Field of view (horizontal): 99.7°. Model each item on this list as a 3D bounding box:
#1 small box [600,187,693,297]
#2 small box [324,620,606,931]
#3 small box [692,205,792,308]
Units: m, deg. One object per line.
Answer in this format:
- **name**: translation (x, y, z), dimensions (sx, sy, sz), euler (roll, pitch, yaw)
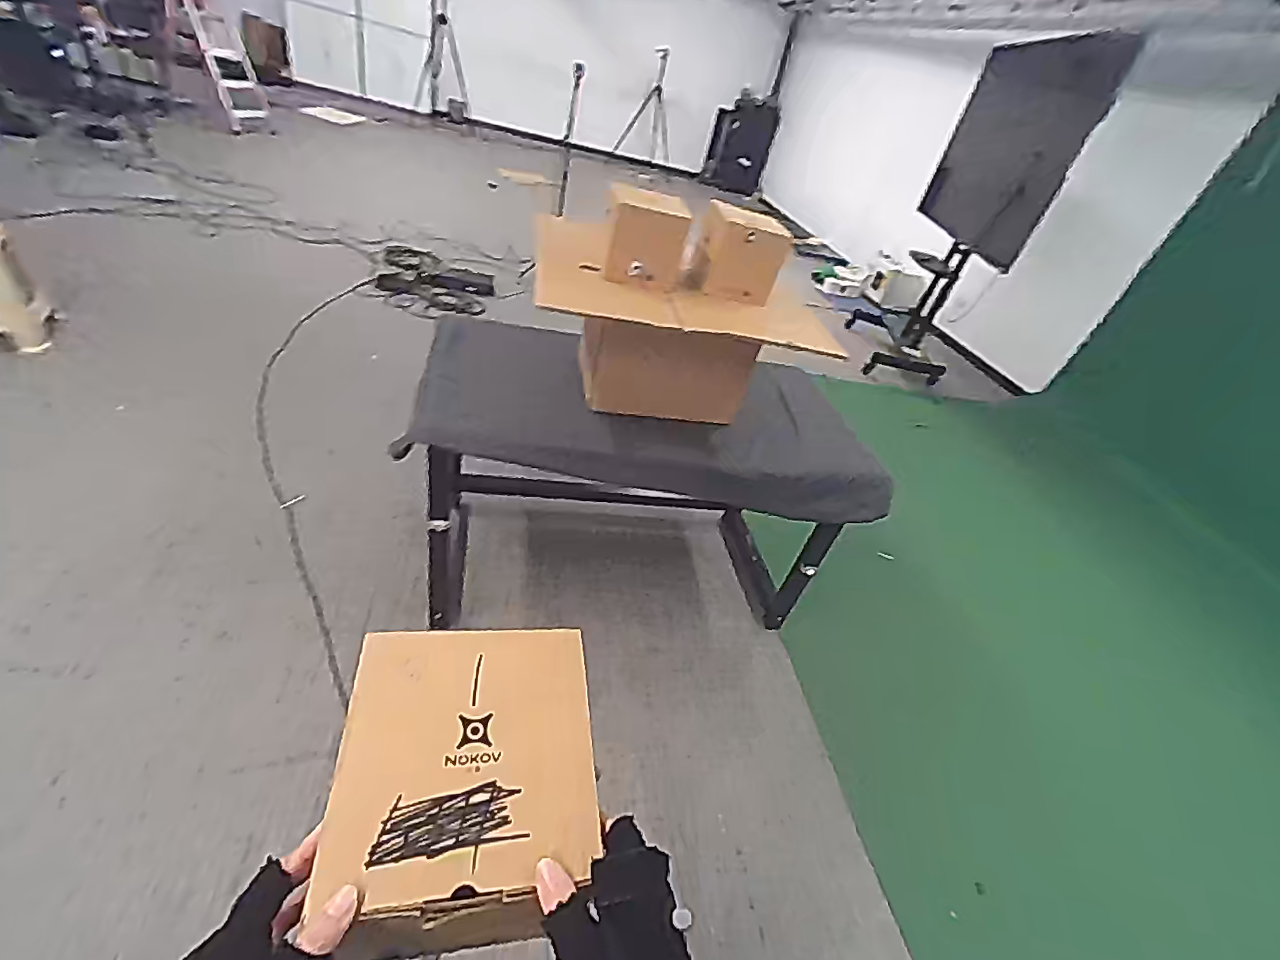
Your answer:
- **small box**: translation (0.005, -0.546, 1.243), dimensions (0.168, 0.176, 0.179), euler (4, 41, -15)
- **small box**: translation (-0.126, 0.233, 0.432), dimensions (0.168, 0.176, 0.179), euler (4, 41, -15)
- **small box**: translation (0.237, -0.542, 1.315), dimensions (0.168, 0.176, 0.179), euler (6, 38, -15)
